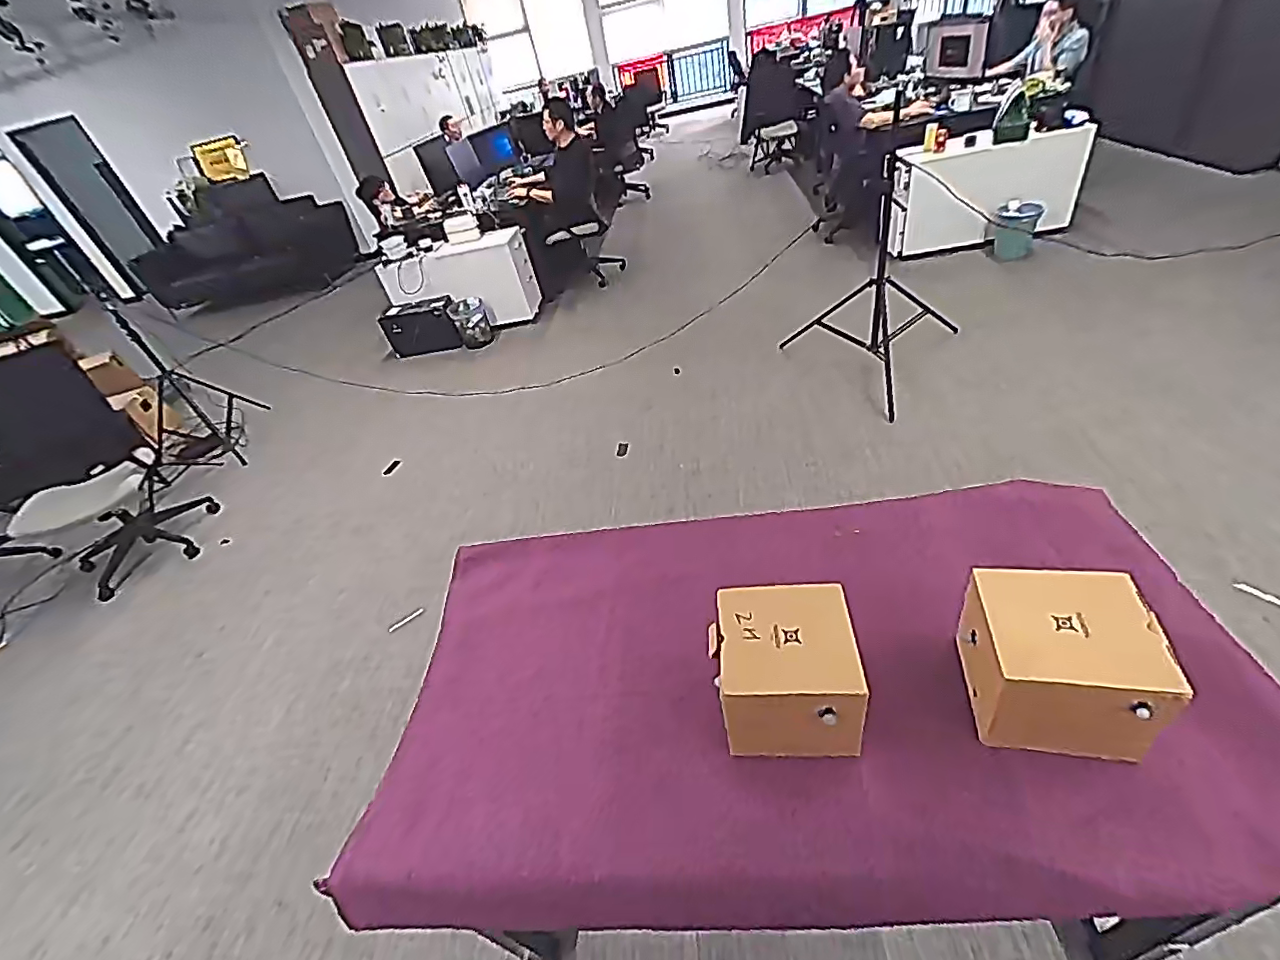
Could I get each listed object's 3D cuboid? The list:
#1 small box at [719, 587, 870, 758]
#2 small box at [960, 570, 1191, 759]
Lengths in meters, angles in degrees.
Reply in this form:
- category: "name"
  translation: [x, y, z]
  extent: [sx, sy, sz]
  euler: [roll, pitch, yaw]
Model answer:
- category: "small box"
  translation: [0.207, 0.270, 0.757]
  extent: [0.179, 0.176, 0.168]
  euler: [-6, 38, 11]
- category: "small box"
  translation: [0.530, 0.235, 0.696]
  extent: [0.179, 0.176, 0.168]
  euler: [-1, 40, 17]
